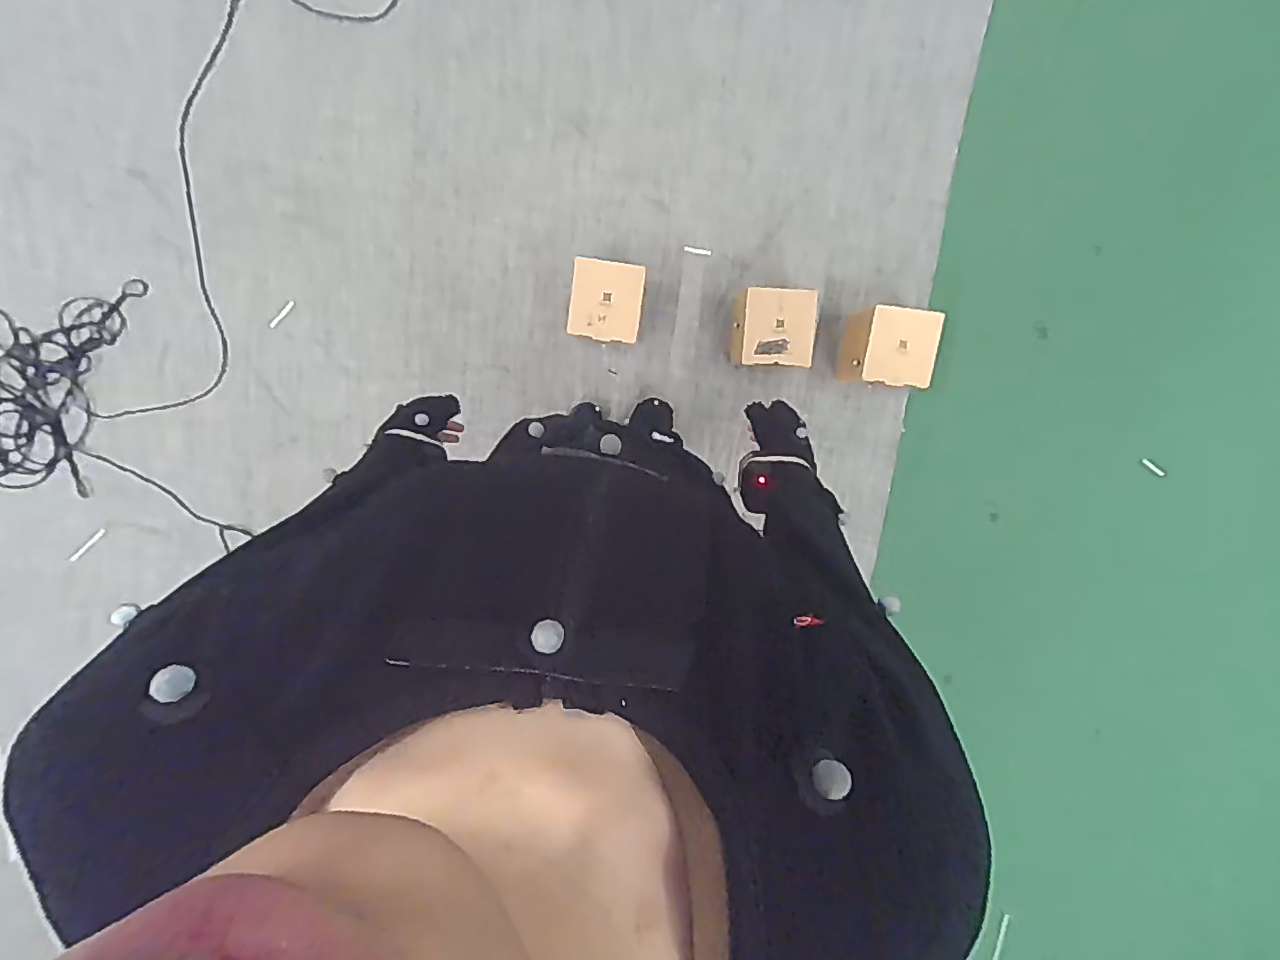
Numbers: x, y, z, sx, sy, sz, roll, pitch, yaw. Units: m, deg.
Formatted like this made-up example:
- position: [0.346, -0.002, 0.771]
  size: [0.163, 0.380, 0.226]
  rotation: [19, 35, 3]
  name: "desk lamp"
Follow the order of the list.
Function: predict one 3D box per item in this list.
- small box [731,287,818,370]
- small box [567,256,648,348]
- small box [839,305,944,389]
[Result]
- position: [0.322, -0.365, 1.328]
  size: [0.168, 0.176, 0.179]
  rotation: [3, 99, -1]
  name: "small box"
- position: [-0.076, -0.424, 1.316]
  size: [0.168, 0.176, 0.179]
  rotation: [9, 101, 0]
  name: "small box"
- position: [0.612, -0.323, 1.337]
  size: [0.168, 0.176, 0.179]
  rotation: [7, 100, 0]
  name: "small box"
